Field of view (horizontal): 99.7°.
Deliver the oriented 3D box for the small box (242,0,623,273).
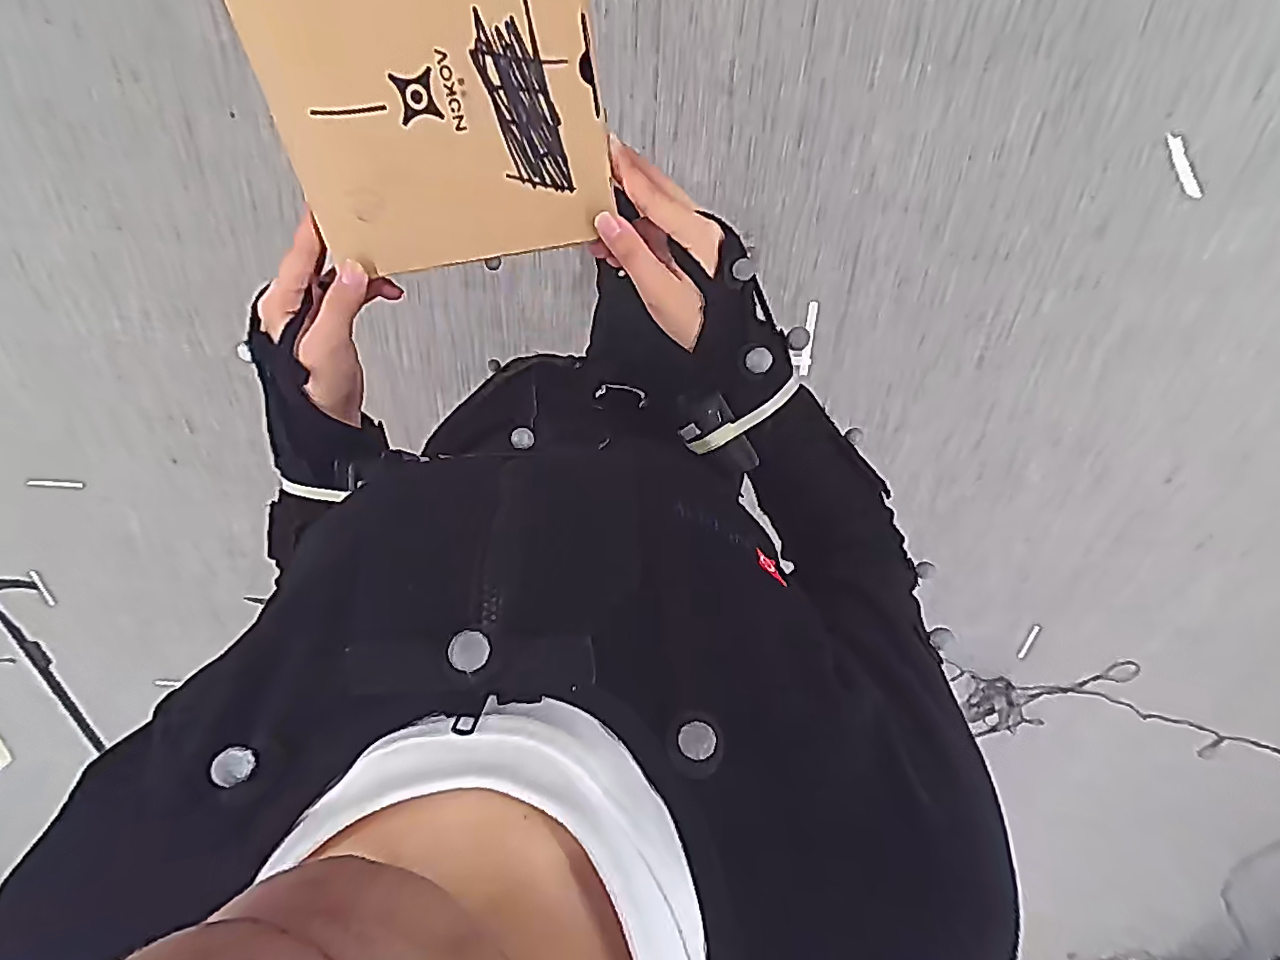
[{"bbox_3d":[-0.111,-0.251,0.363,0.179,0.176,0.168,-8,120,2],"label":"small box"}]
